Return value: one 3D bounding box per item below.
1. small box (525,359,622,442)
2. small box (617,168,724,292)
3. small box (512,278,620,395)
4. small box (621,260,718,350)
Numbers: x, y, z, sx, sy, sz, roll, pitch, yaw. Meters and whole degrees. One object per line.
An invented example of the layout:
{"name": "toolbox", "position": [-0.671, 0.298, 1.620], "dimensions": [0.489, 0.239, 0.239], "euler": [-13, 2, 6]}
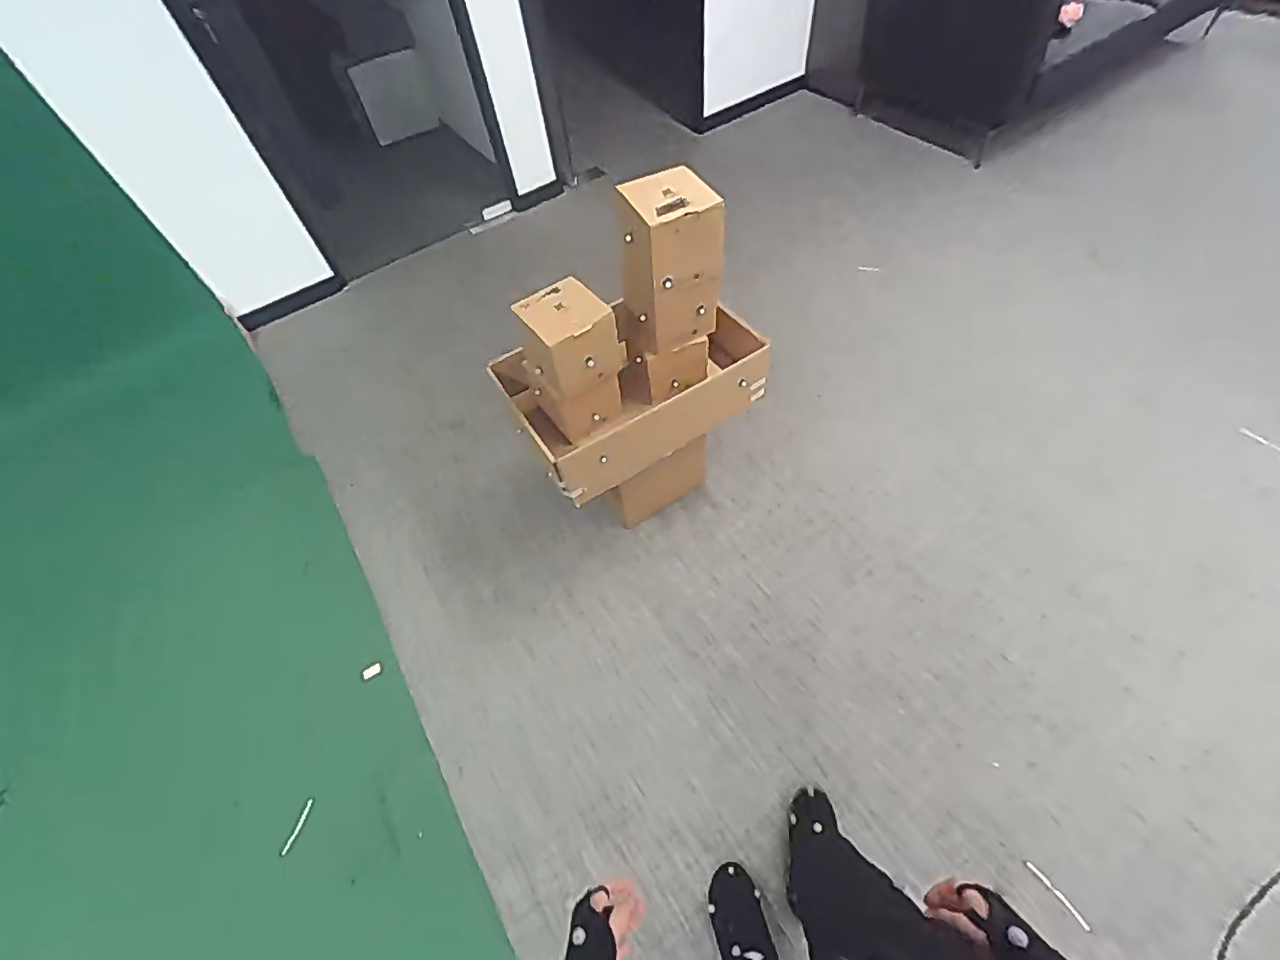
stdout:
{"name": "small box", "position": [-0.164, -0.230, 1.369], "dimensions": [0.168, 0.176, 0.179], "euler": [-33, 59, -16]}
{"name": "small box", "position": [0.065, -0.526, 1.156], "dimensions": [0.168, 0.176, 0.179], "euler": [-22, 56, -11]}
{"name": "small box", "position": [-0.161, -0.317, 1.230], "dimensions": [0.168, 0.176, 0.179], "euler": [-32, 59, -17]}
{"name": "small box", "position": [0.072, -0.433, 1.291], "dimensions": [0.168, 0.176, 0.179], "euler": [-25, 57, -12]}
